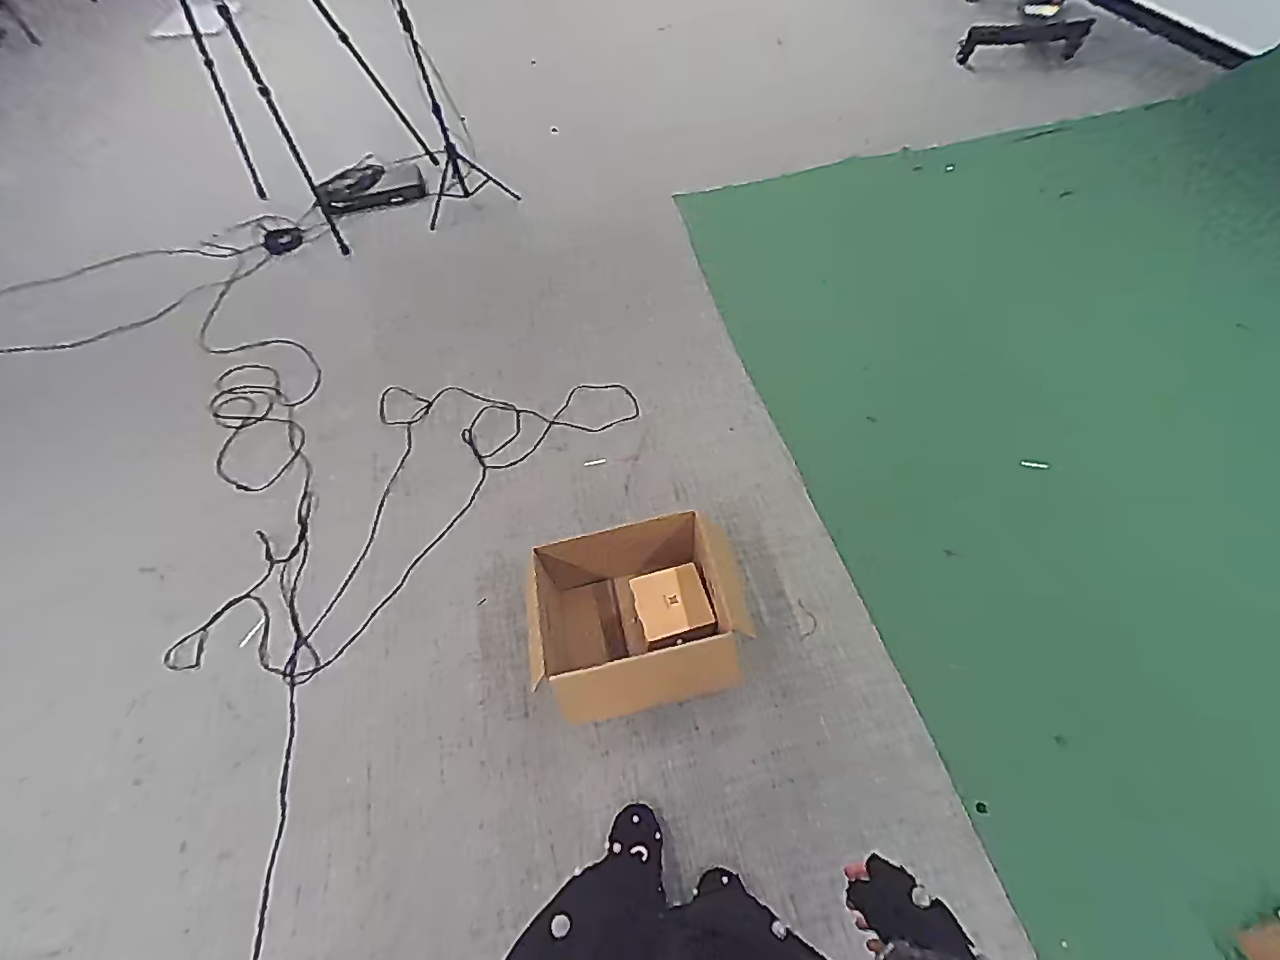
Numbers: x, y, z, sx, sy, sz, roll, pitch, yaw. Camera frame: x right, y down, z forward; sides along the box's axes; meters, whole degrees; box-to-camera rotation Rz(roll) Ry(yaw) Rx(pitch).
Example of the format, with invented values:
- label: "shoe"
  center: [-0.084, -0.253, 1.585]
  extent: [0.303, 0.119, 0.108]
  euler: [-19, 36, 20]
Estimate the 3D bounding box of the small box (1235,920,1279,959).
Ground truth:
- label: "small box"
  center: [1.255, 0.908, 0.955]
  extent: [0.168, 0.176, 0.179]
  euler: [-16, 57, -6]
